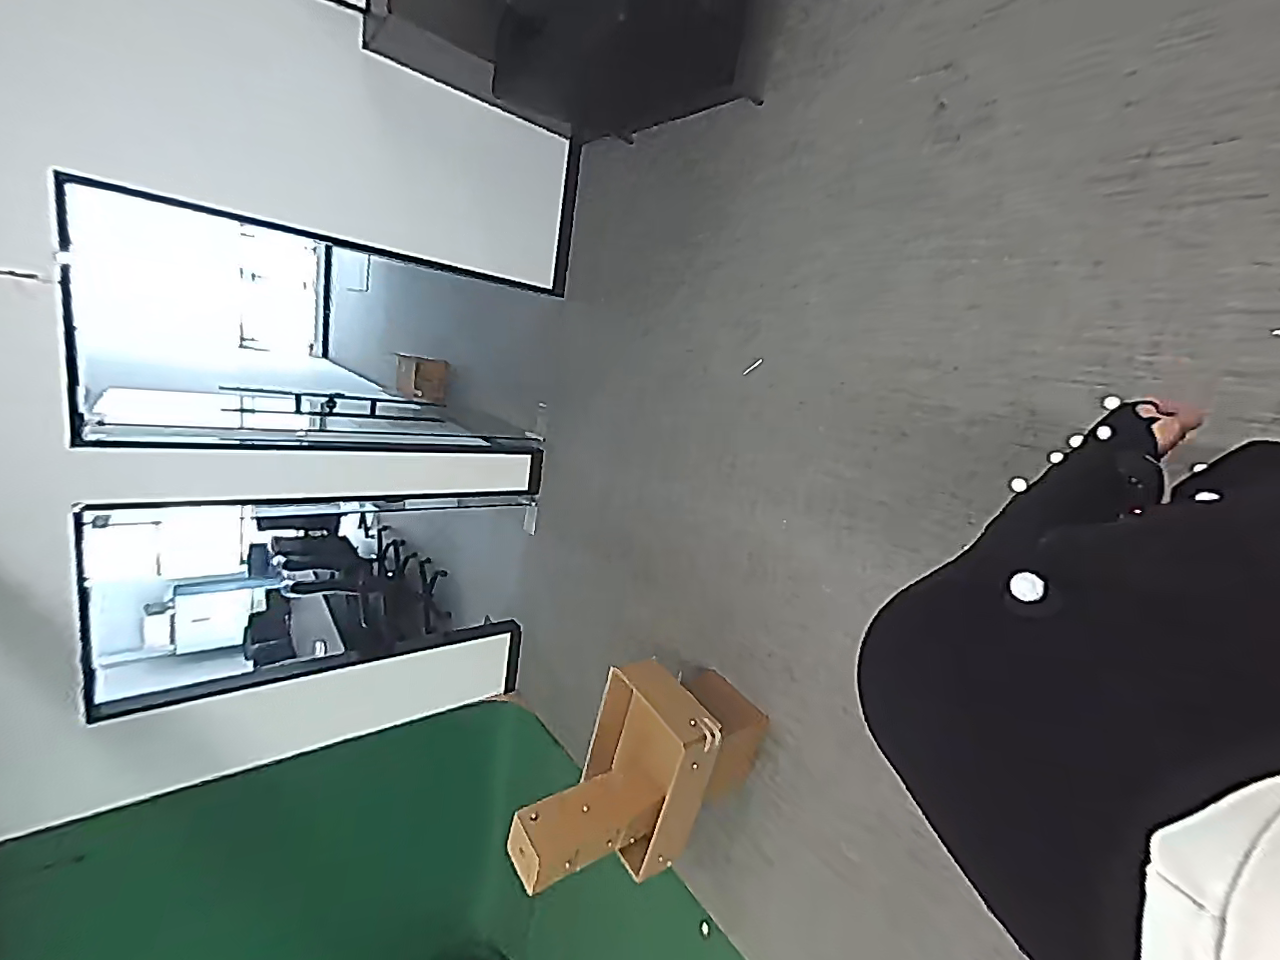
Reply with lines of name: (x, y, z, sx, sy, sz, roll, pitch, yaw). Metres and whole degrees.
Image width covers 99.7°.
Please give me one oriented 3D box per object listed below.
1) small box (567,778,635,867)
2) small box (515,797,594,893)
small box: (-0.147, 1.152, 1.841, 0.179, 0.176, 0.168, 34, 117, 43)
small box: (-0.275, 1.157, 1.737, 0.179, 0.176, 0.168, 35, 118, 43)
